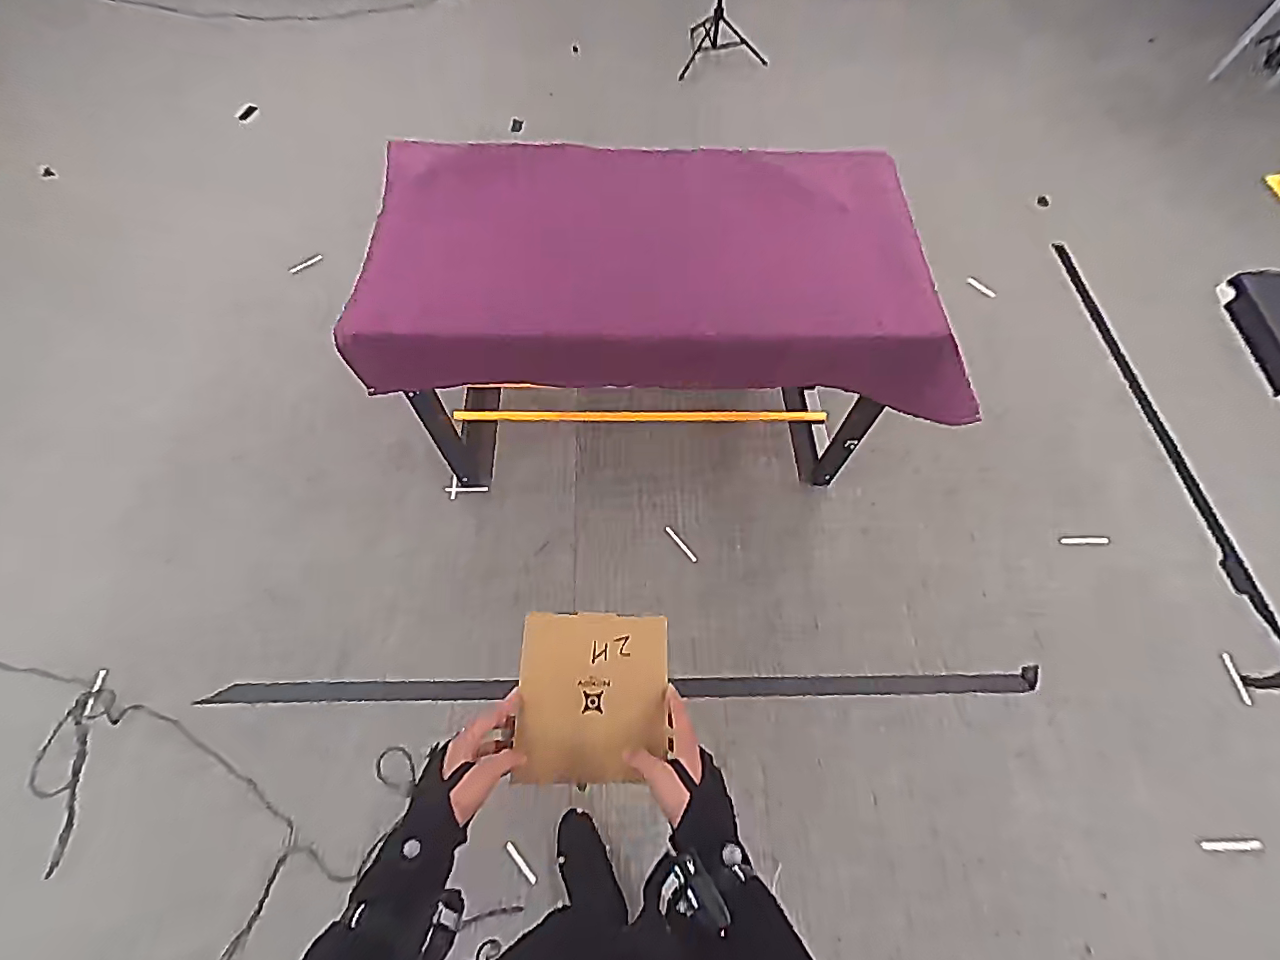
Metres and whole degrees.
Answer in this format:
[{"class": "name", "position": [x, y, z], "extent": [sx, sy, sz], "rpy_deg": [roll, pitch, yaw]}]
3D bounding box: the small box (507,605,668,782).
[{"class": "small box", "position": [-0.061, 0.258, 0.660], "extent": [0.168, 0.176, 0.179], "rpy_deg": [4, 67, -6]}]
